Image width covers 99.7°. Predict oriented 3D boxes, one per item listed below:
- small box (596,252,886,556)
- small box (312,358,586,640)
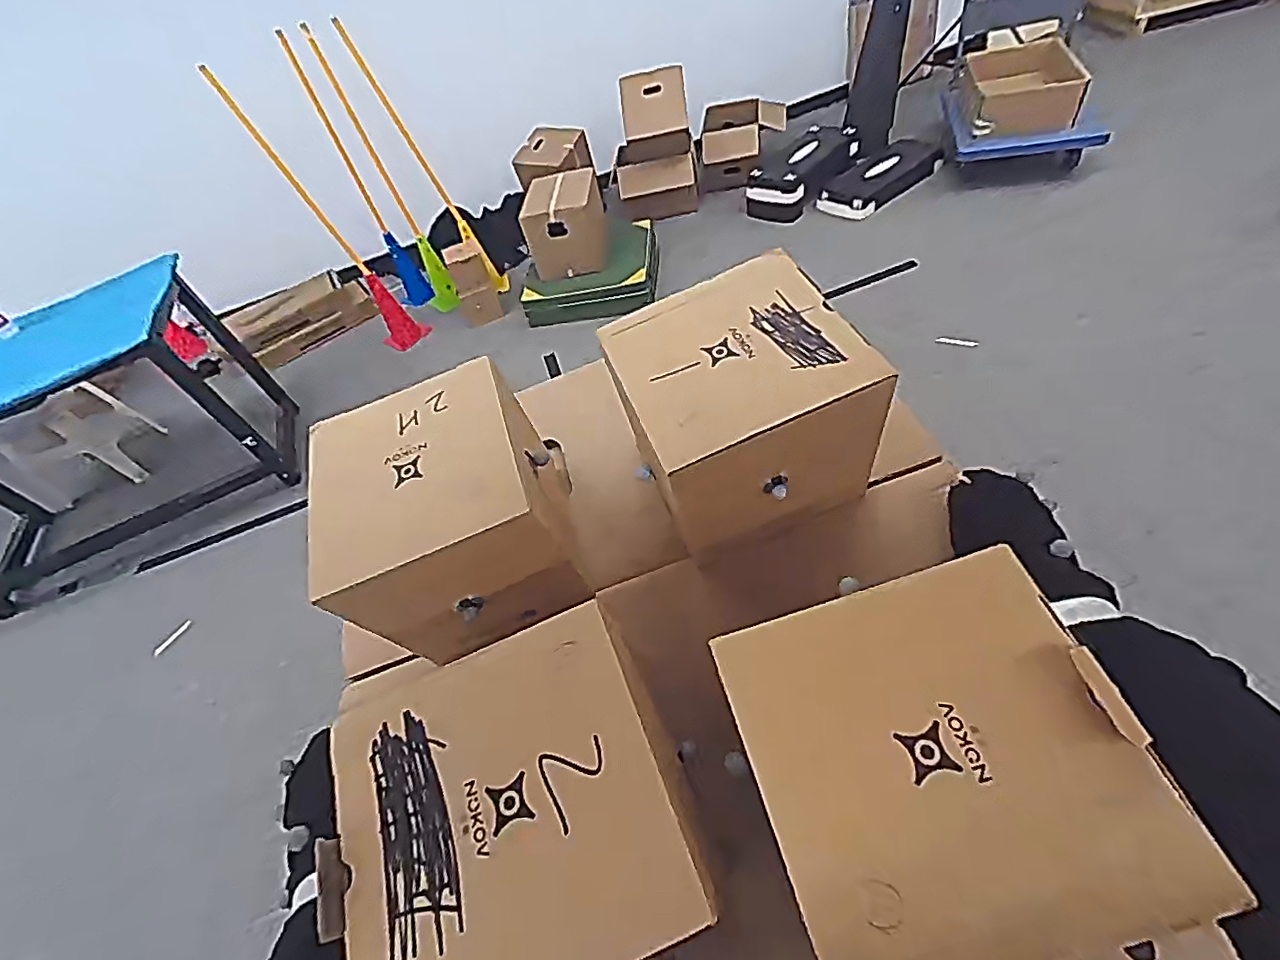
[{"bbox_3d":[0.083,-0.059,0.483,0.179,0.176,0.168,-23,56,0],"label":"small box"},{"bbox_3d":[-0.163,0.029,0.492,0.168,0.176,0.179,-22,55,0],"label":"small box"}]
